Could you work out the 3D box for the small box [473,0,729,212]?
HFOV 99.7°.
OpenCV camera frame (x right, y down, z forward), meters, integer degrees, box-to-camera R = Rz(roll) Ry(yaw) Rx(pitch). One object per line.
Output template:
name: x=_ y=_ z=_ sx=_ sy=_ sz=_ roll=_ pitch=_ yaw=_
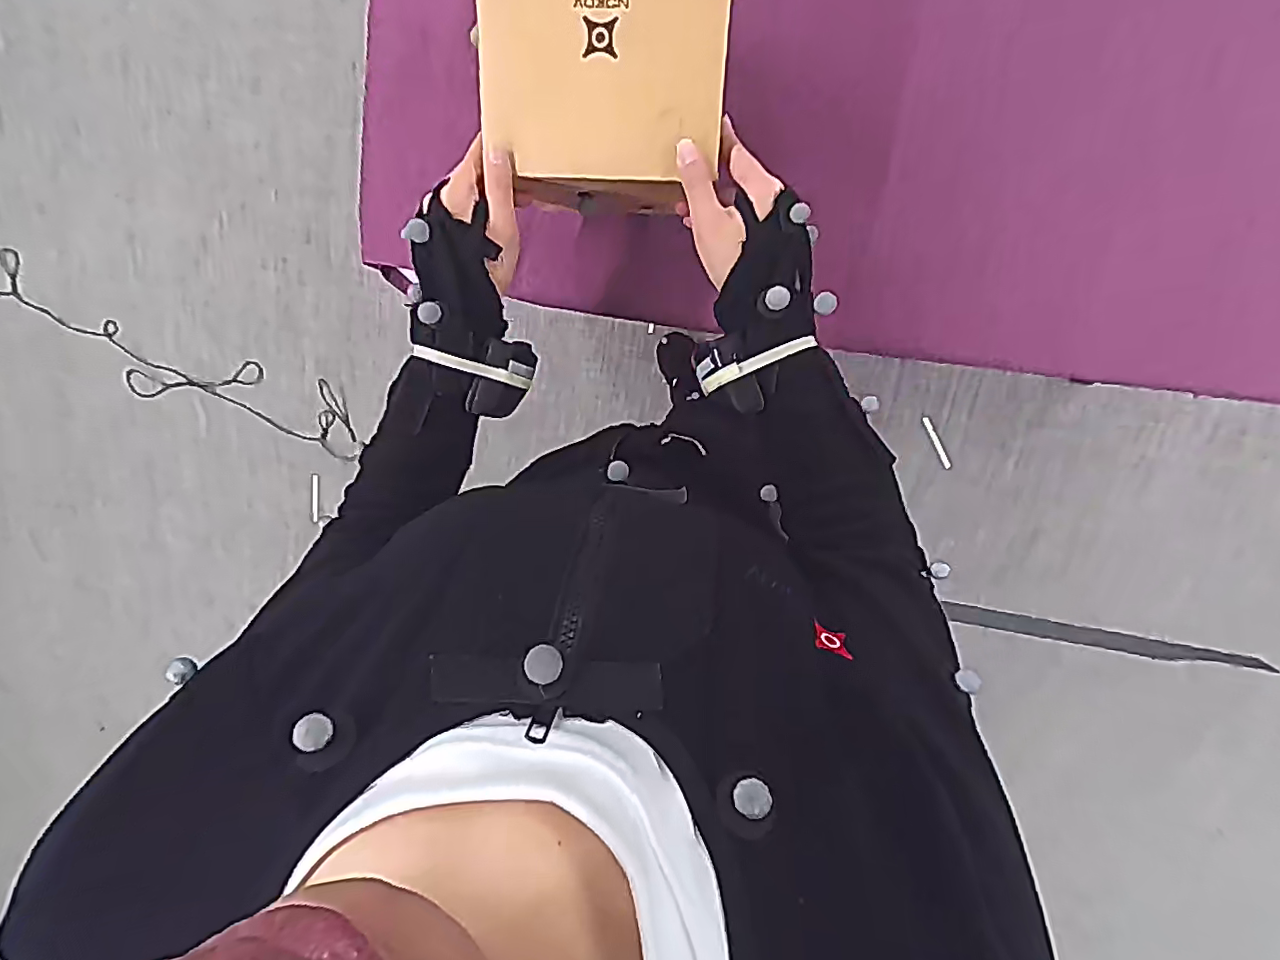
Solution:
small box: x=-0.019 y=-0.317 z=0.423 sx=0.168 sy=0.176 sz=0.179 roll=4 pitch=107 yaw=5
